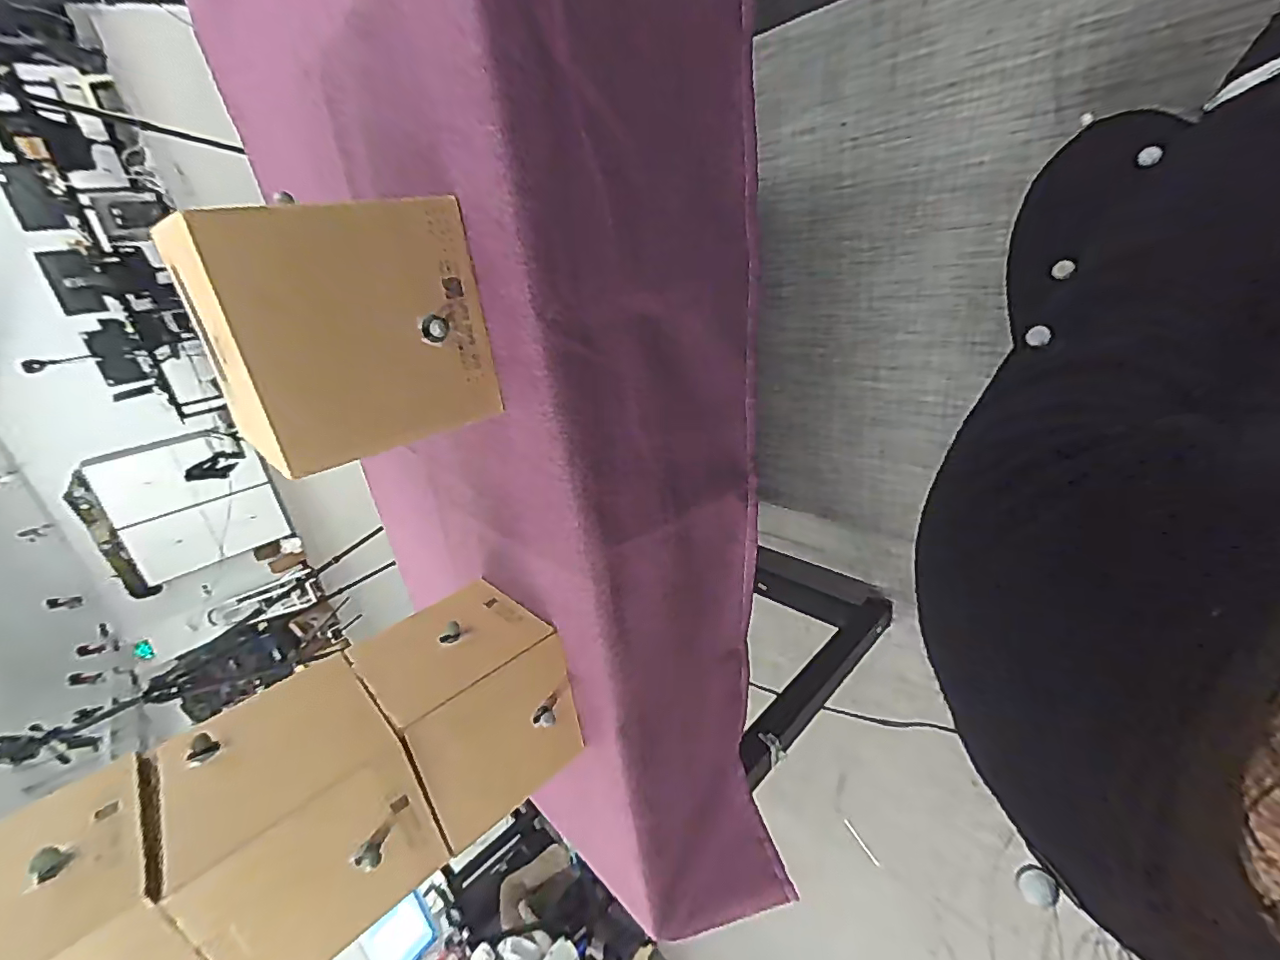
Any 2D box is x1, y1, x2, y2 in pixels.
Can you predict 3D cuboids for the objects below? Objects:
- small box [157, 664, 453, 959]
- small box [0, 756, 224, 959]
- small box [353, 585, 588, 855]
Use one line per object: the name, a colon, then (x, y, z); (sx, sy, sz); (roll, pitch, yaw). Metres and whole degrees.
small box: (-0.301, 0.302, 0.501); (0.179, 0.176, 0.168); (17, 125, 43)
small box: (-0.419, 0.358, 0.400); (0.168, 0.176, 0.179); (19, 125, 42)
small box: (-0.180, 0.244, 0.597); (0.168, 0.176, 0.179); (16, 122, 45)
